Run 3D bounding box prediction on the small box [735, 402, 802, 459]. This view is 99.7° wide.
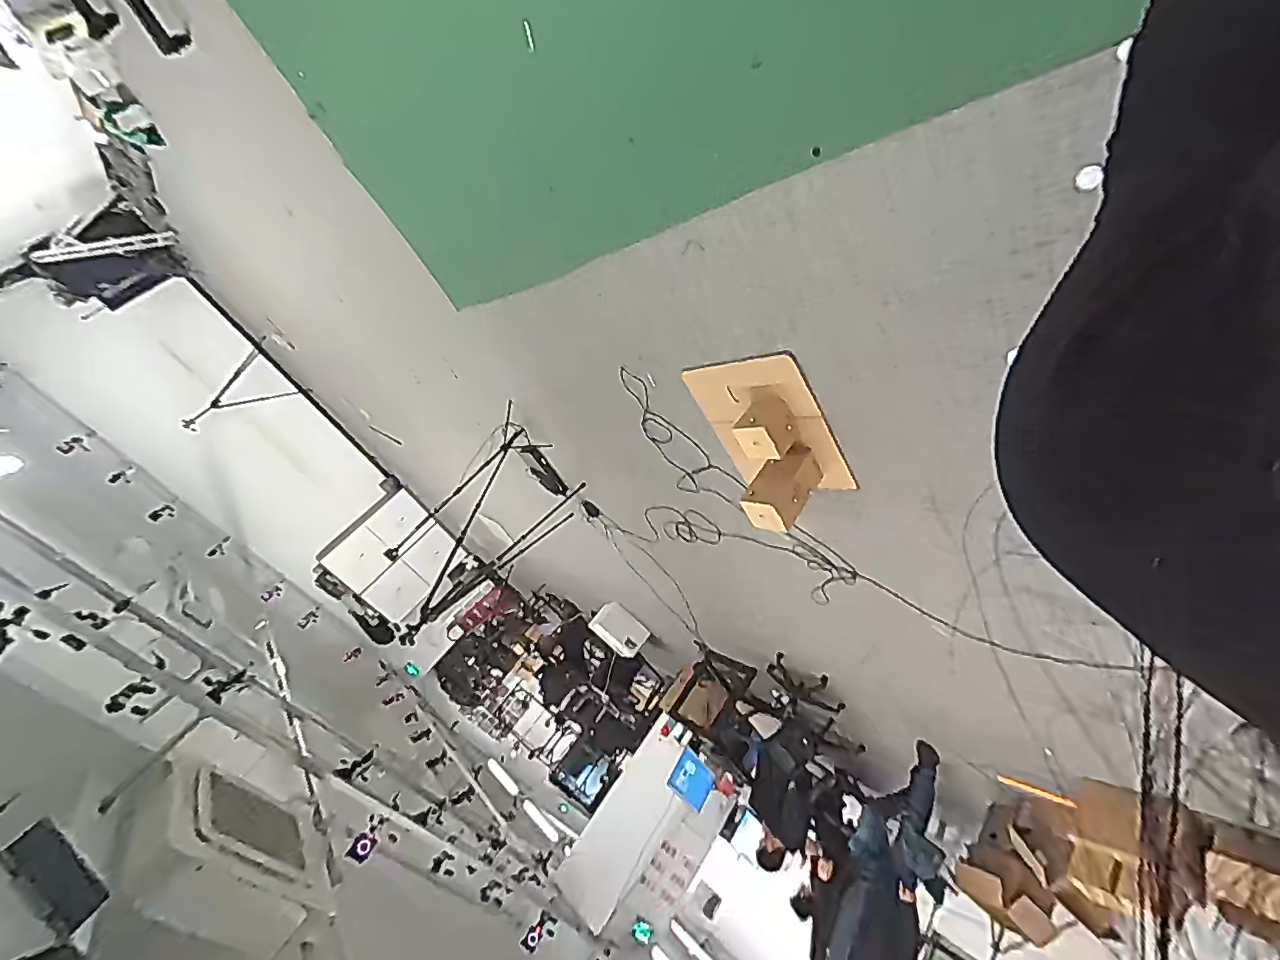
[{"bbox_3d":[0.526,-0.201,2.203,0.179,0.176,0.168,1,134,53],"label":"small box"}]

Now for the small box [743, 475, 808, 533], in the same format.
[{"bbox_3d":[0.563,0.093,2.236,0.179,0.176,0.168,7,140,50],"label":"small box"}]
